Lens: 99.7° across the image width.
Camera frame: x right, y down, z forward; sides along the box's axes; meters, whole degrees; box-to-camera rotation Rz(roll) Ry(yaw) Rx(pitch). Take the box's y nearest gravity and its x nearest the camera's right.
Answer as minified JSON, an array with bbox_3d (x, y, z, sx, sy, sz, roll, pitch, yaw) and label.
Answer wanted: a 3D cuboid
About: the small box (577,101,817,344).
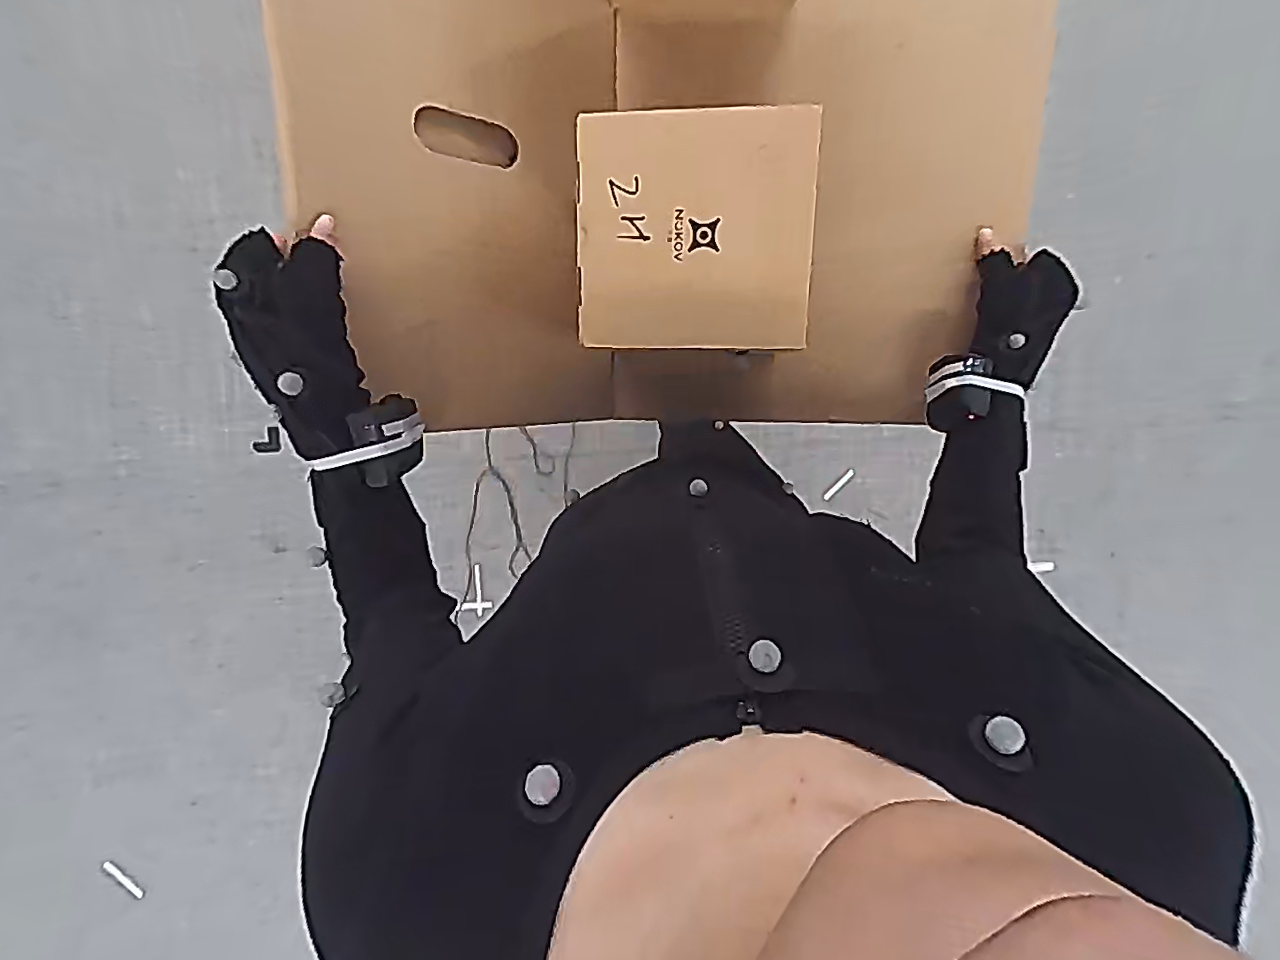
[{"bbox_3d":[0.046,-0.212,0.486,0.179,0.176,0.168,3,102,6],"label":"small box"}]
